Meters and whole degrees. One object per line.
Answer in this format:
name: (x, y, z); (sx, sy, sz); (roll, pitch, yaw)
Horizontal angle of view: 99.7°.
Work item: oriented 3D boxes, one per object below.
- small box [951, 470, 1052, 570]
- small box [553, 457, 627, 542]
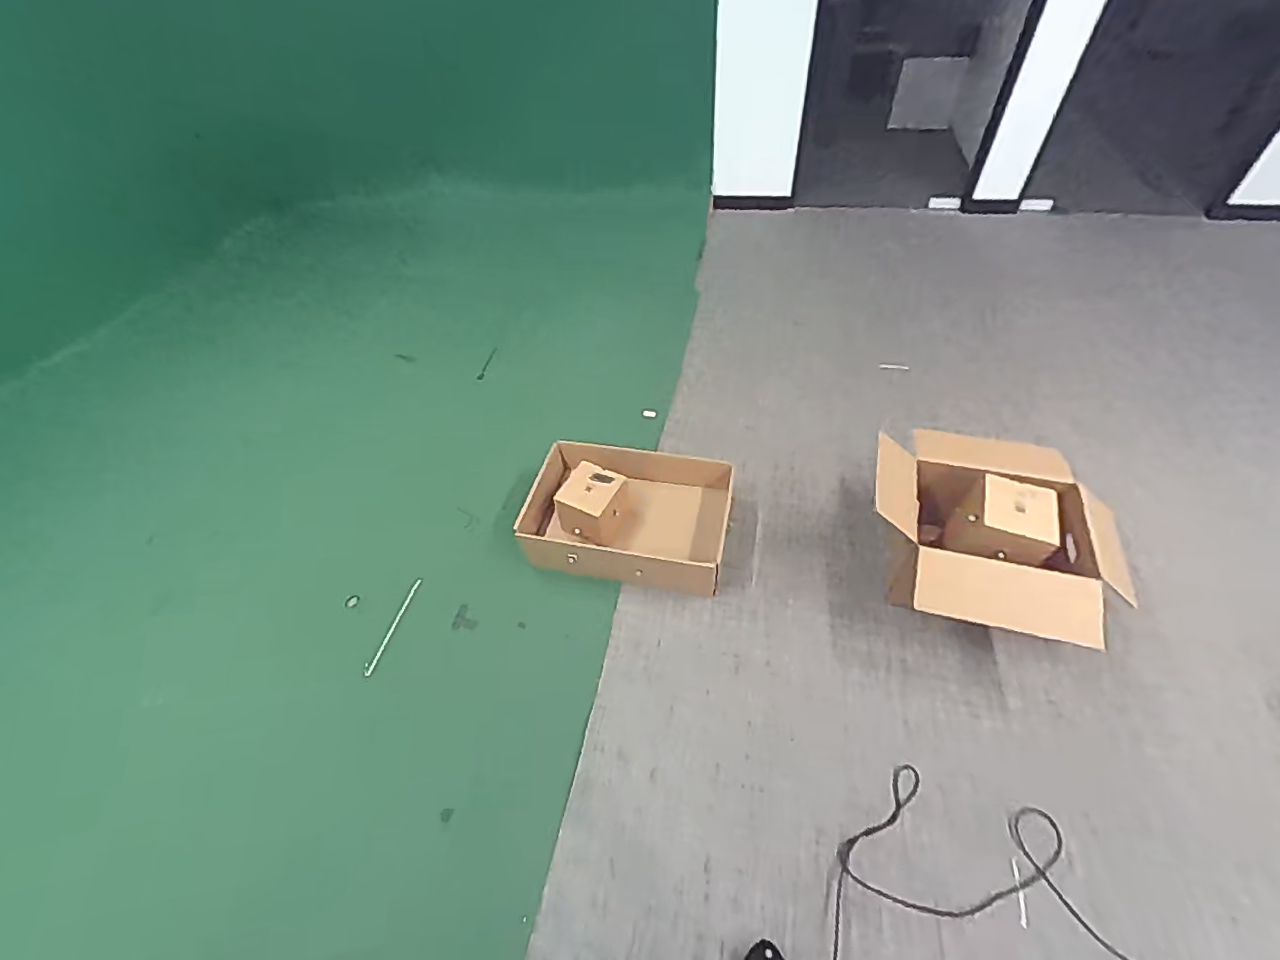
small box: (0.938, 0.109, 1.414); (0.168, 0.176, 0.179); (17, 54, 14)
small box: (-0.152, 0.062, 1.717); (0.168, 0.176, 0.179); (21, 54, 20)
